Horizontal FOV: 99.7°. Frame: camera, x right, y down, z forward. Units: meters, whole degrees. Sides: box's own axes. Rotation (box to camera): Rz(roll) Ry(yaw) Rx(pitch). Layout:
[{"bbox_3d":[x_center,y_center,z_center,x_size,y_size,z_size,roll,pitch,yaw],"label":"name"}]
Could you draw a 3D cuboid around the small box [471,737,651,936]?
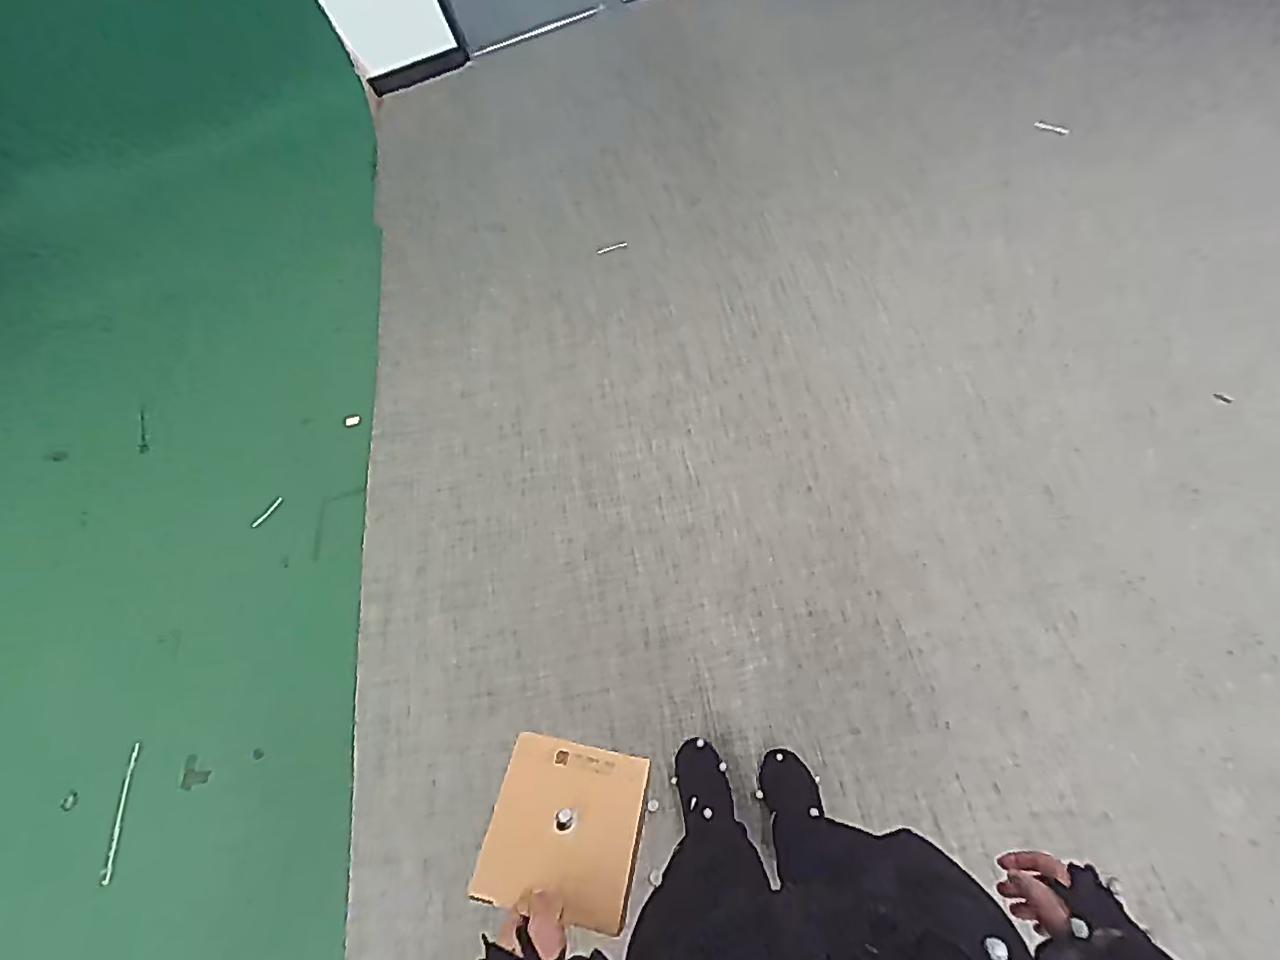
[{"bbox_3d":[-0.083,0.434,0.671,0.168,0.179,0.176,10,54,7],"label":"small box"}]
